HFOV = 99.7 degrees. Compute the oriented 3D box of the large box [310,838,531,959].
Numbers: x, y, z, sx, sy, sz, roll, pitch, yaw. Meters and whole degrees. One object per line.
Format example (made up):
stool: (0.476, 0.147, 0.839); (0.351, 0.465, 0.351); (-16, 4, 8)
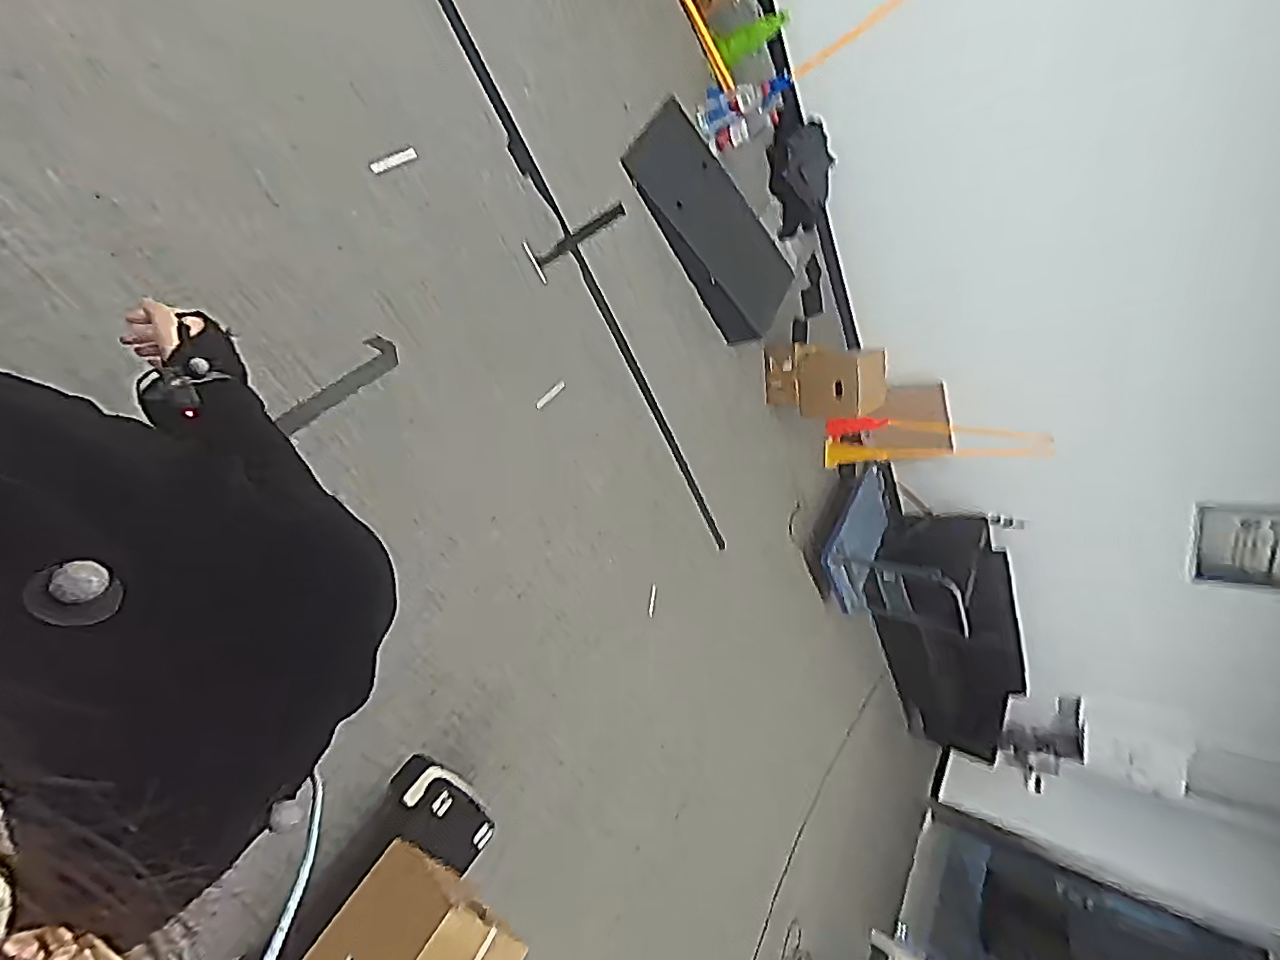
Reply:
large box: (-0.543, 1.159, 1.253); (0.408, 0.320, 0.320); (-53, 128, -32)
